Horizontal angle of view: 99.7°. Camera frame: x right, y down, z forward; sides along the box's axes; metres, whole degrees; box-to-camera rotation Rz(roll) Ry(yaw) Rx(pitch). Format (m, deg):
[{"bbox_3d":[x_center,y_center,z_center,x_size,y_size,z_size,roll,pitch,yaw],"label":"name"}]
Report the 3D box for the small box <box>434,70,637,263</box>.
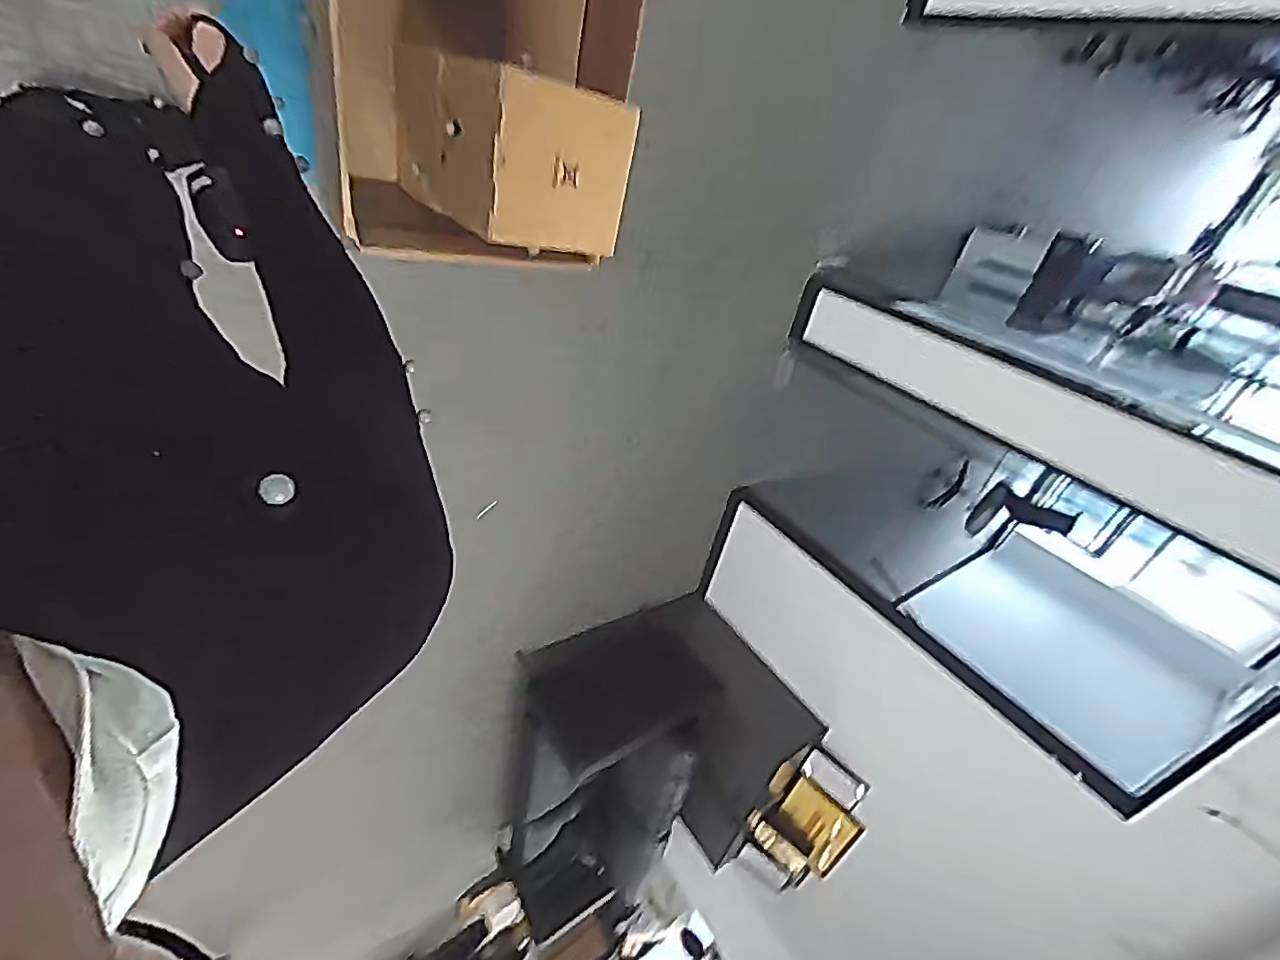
[{"bbox_3d":[-0.135,-0.385,0.672,0.179,0.176,0.168,-11,130,-38],"label":"small box"}]
